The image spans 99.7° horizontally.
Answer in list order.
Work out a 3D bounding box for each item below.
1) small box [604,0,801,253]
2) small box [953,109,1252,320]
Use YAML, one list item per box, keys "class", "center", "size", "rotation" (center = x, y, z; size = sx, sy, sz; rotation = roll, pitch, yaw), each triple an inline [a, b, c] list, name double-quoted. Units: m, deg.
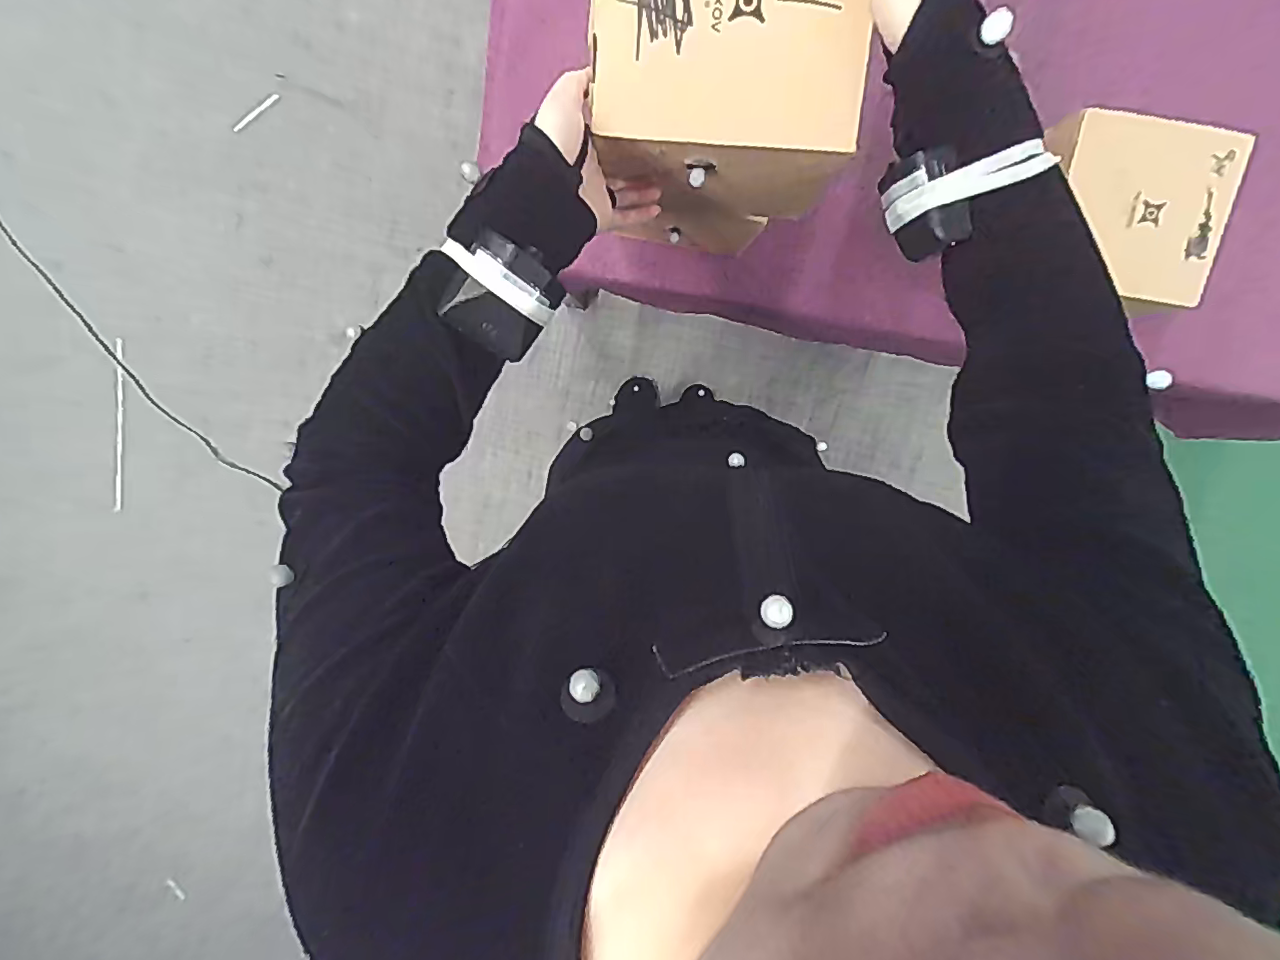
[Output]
- class: "small box"
  center: [0.059, -0.368, 0.603]
  size: [0.168, 0.176, 0.179]
  rotation: [10, 101, -2]
- class: "small box"
  center: [0.498, -0.284, 0.617]
  size: [0.179, 0.176, 0.168]
  rotation: [9, 102, -1]
